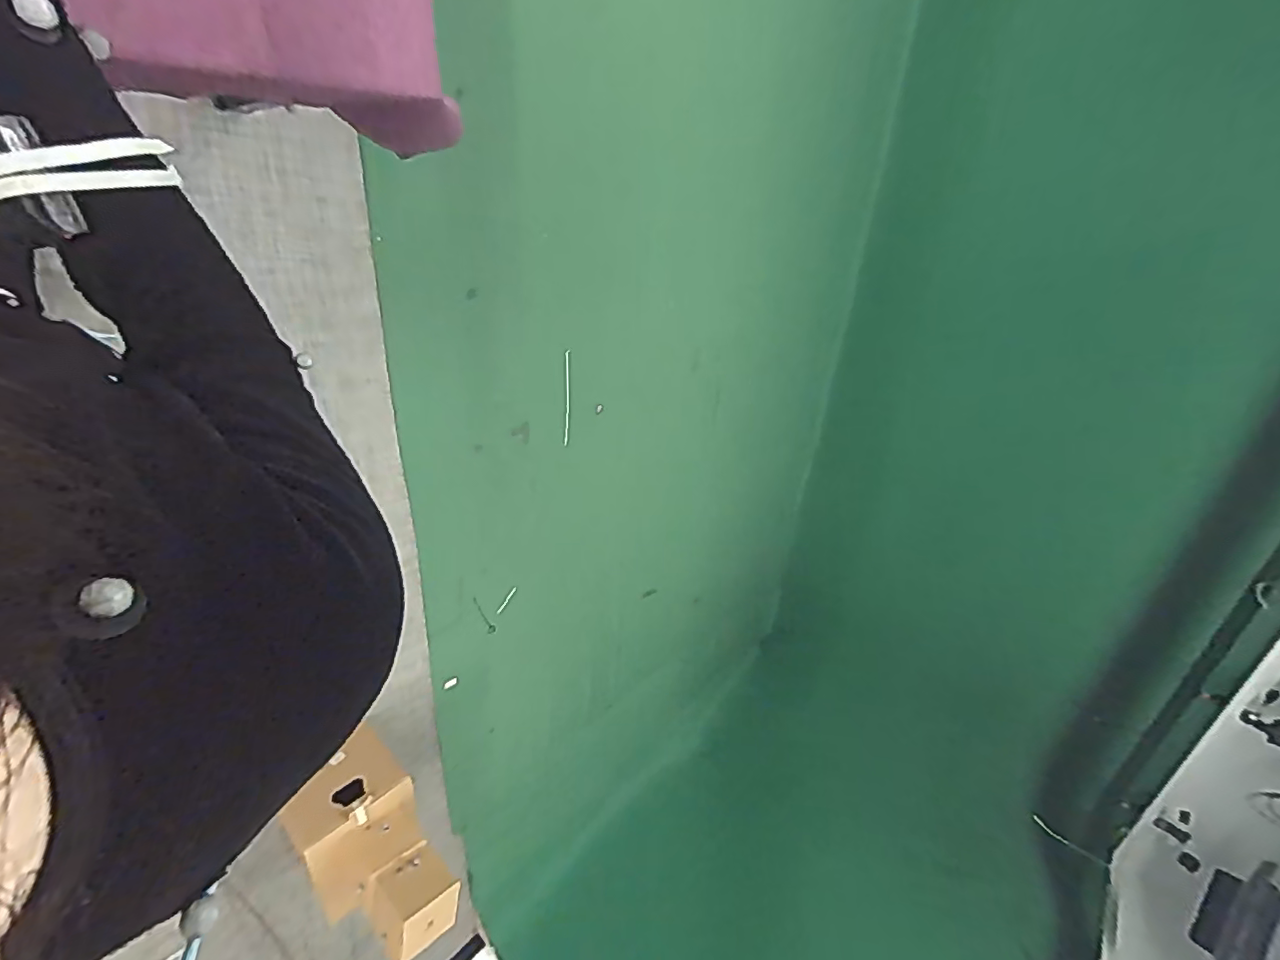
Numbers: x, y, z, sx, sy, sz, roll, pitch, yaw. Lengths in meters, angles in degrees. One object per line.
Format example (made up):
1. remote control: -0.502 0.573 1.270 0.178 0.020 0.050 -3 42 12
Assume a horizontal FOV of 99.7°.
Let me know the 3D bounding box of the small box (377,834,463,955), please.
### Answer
1. small box: -0.633 1.173 1.545 0.168 0.176 0.179 -9 117 -51

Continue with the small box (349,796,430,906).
1. small box: -0.757 1.109 1.630 0.168 0.176 0.179 -13 120 -49

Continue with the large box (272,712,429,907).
1. large box: -0.944 1.071 1.788 0.320 0.320 0.408 -25 130 -42
